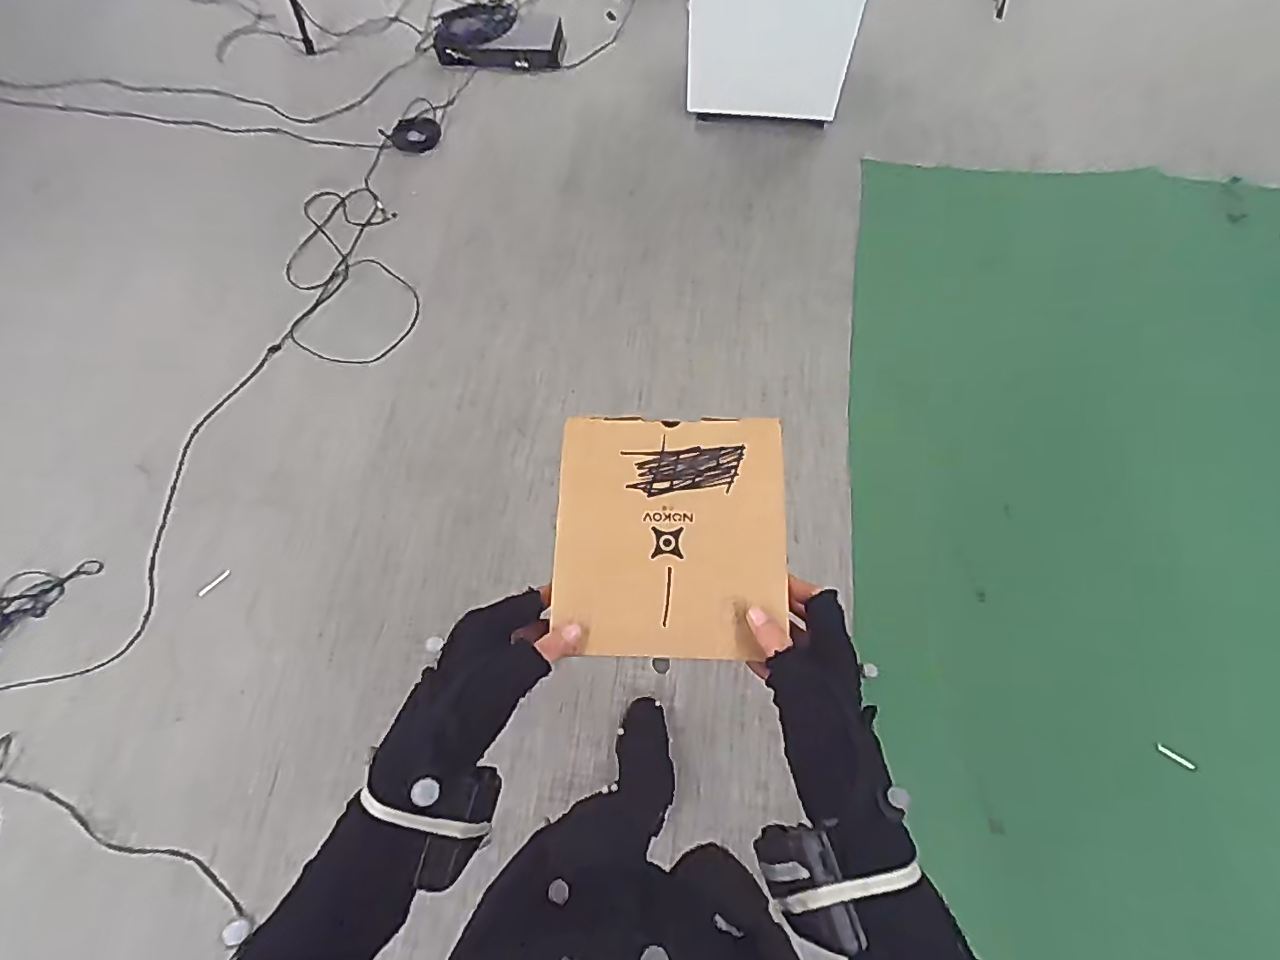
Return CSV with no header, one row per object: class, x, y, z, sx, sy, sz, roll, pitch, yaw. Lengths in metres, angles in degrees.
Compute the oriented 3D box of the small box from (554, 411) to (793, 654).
small box,0.029,0.053,0.465,0.168,0.176,0.179,1,75,4
